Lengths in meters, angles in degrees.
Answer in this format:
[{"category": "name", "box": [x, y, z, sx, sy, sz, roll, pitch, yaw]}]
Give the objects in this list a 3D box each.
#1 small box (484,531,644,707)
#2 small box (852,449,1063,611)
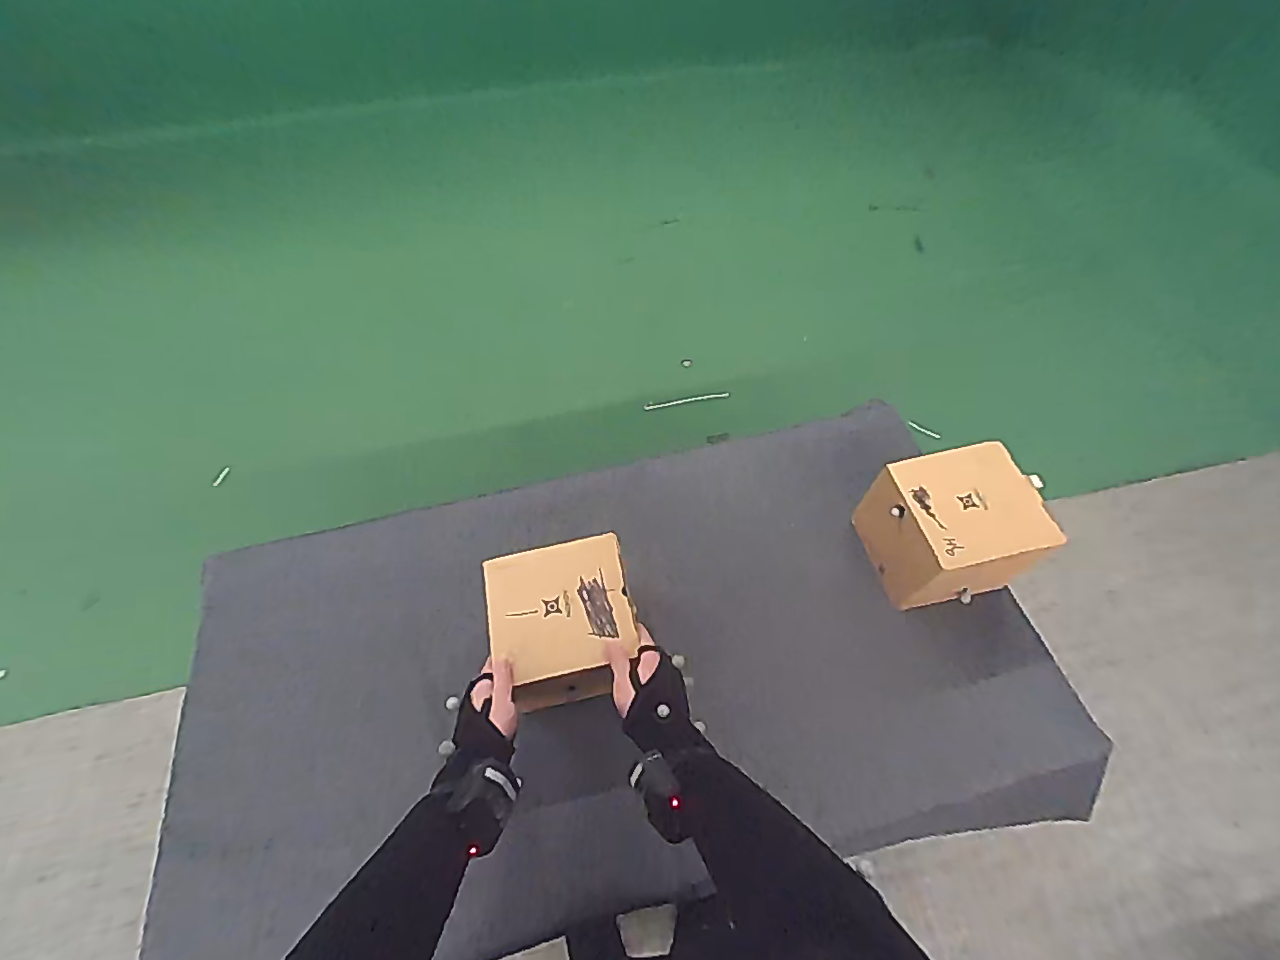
[{"category": "small box", "box": [-0.097, 0.188, 0.718, 0.179, 0.176, 0.168, -10, 59, -6]}, {"category": "small box", "box": [0.446, 0.078, 0.794, 0.179, 0.176, 0.168, -9, 59, -7]}]
